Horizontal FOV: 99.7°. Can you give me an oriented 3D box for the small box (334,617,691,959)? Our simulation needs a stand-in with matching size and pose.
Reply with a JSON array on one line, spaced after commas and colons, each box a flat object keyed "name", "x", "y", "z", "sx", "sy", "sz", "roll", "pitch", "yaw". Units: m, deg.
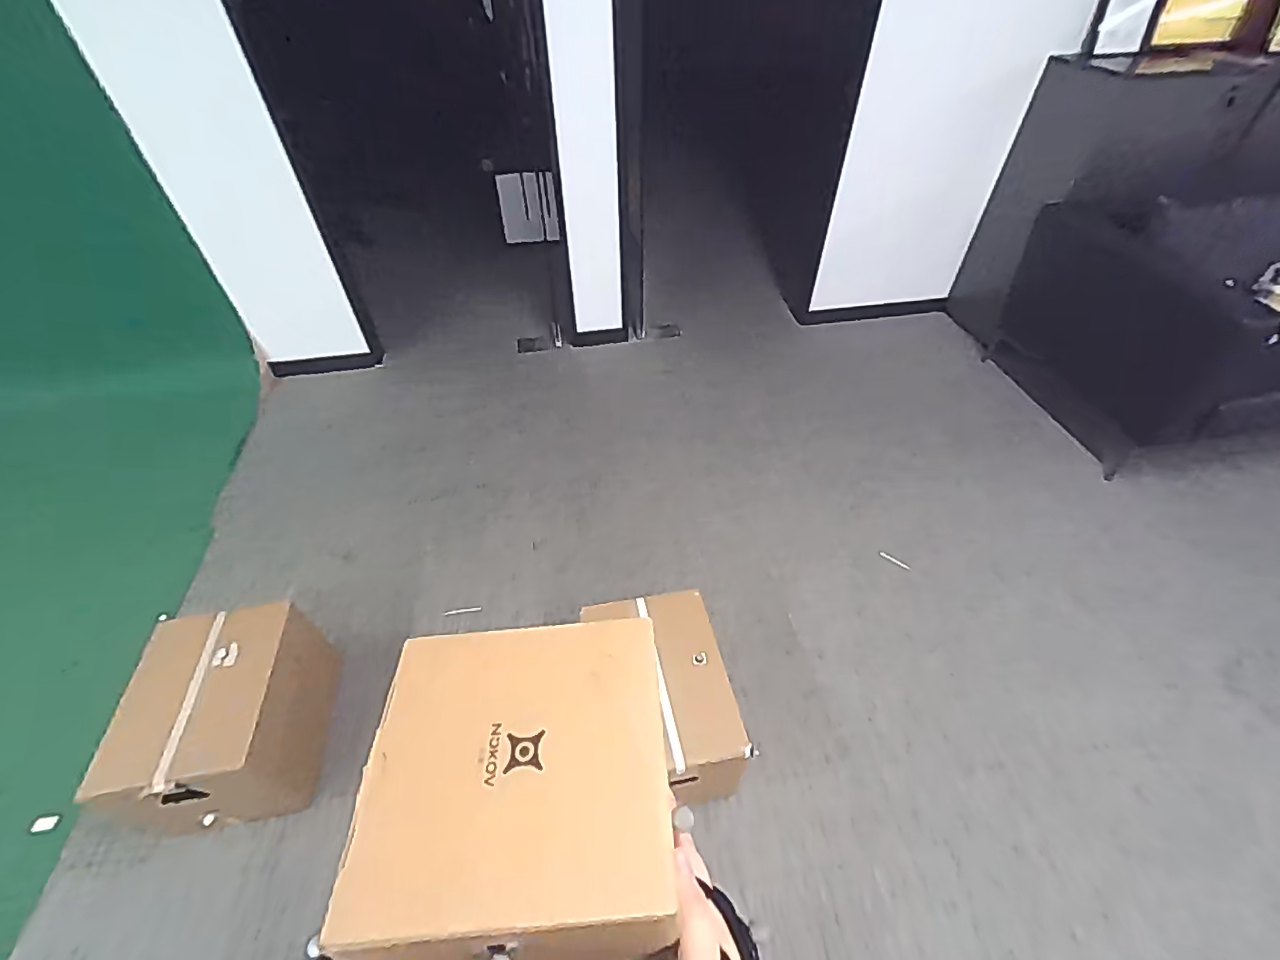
[{"name": "small box", "x": -0.062, "y": 0.216, "z": 0.373, "sx": 0.179, "sy": 0.176, "sz": 0.168, "roll": -5, "pitch": 43, "yaw": 0}]

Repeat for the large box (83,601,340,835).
[{"name": "large box", "x": -0.983, "y": 0.571, "z": 1.316, "sx": 0.320, "sy": 0.320, "sz": 0.408, "roll": -8, "pitch": 46, "yaw": -7}]
